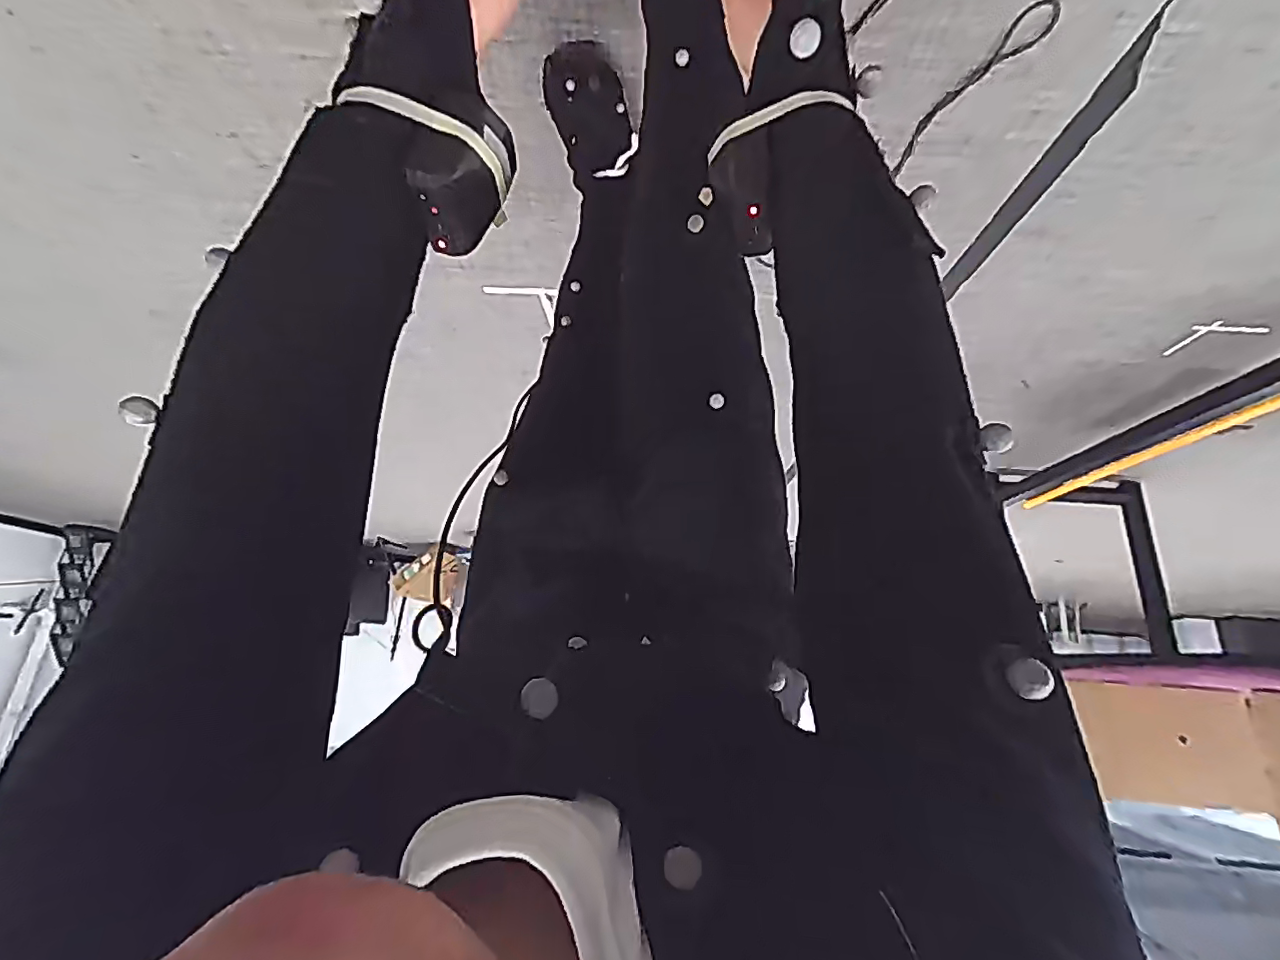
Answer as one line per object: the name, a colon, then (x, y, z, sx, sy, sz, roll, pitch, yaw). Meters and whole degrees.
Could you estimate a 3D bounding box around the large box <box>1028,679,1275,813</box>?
large box: (1.483, 0.773, 1.617, 0.408, 0.320, 0.320, 3, 162, 2)
